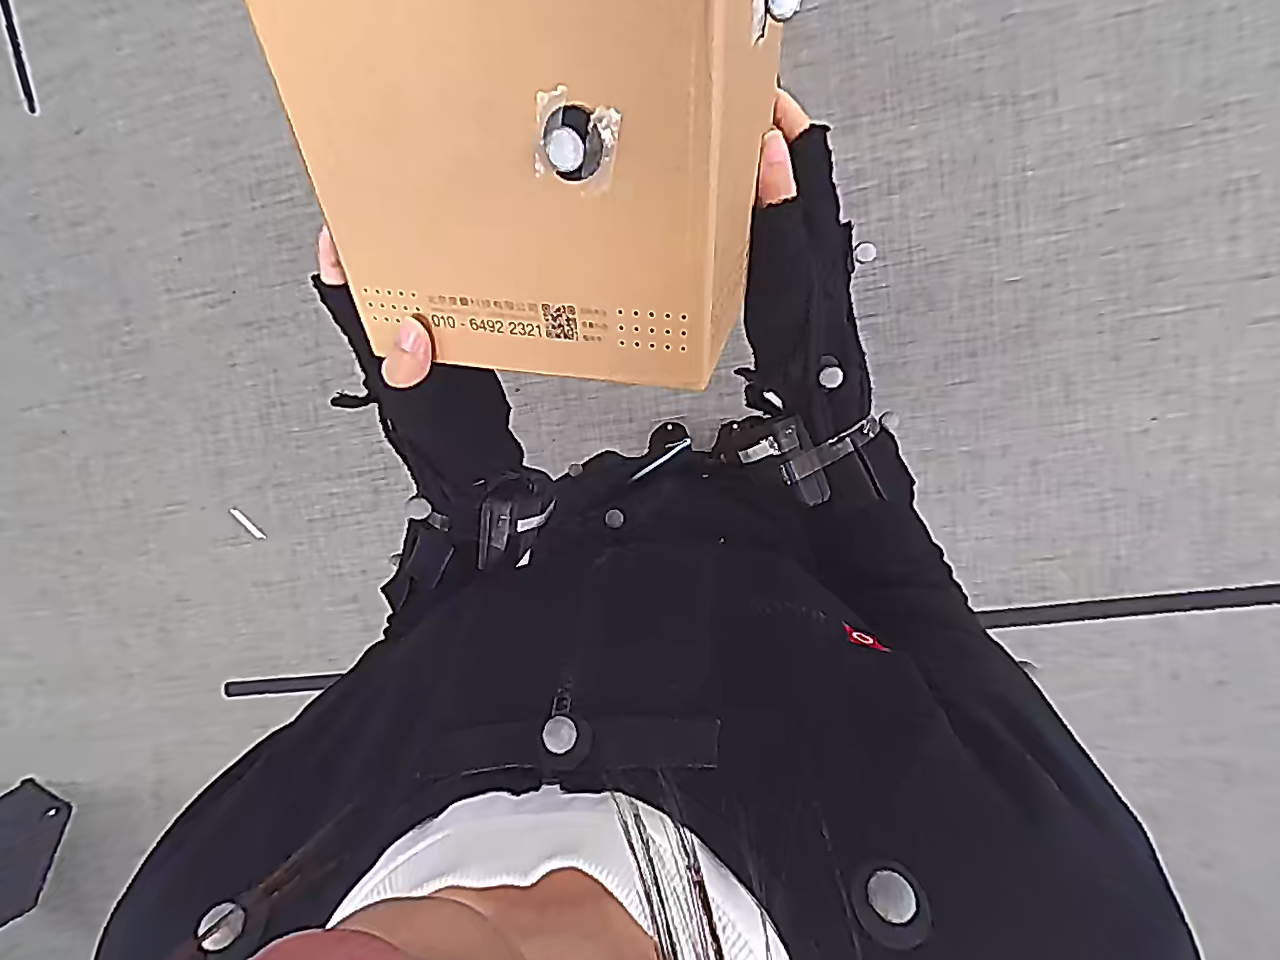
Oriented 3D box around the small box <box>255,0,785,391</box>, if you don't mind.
[{"bbox_3d":[-0.026,-0.159,0.261,0.168,0.179,0.176,10,130,15],"label":"small box"}]
